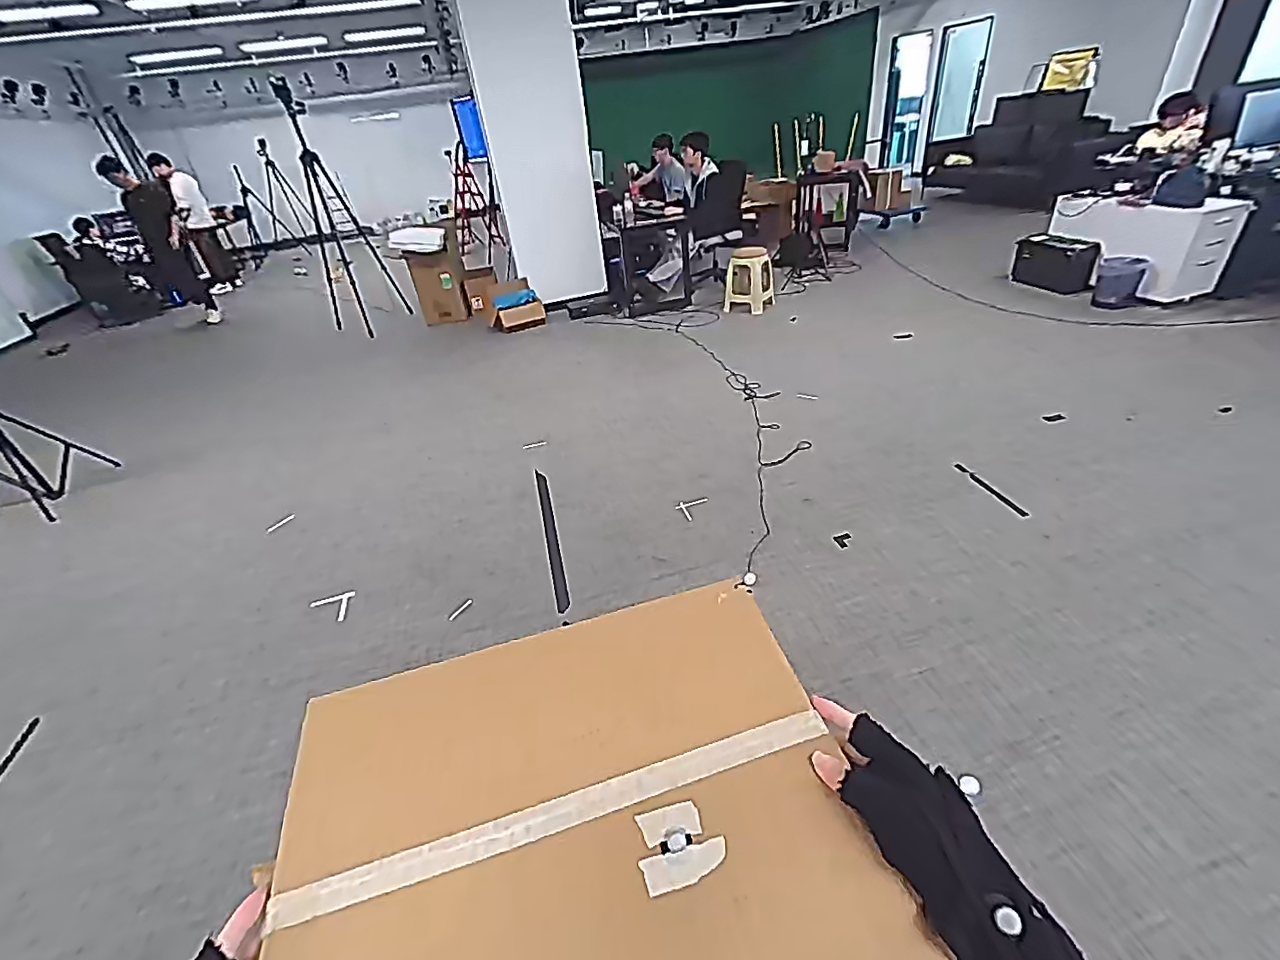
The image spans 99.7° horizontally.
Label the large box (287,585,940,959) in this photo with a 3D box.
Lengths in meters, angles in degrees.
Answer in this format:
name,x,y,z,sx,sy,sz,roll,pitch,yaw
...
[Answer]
name,x,y,z,sx,sy,sz,roll,pitch,yaw
large box,-0.037,0.358,0.499,0.408,0.320,0.320,-13,42,-10
